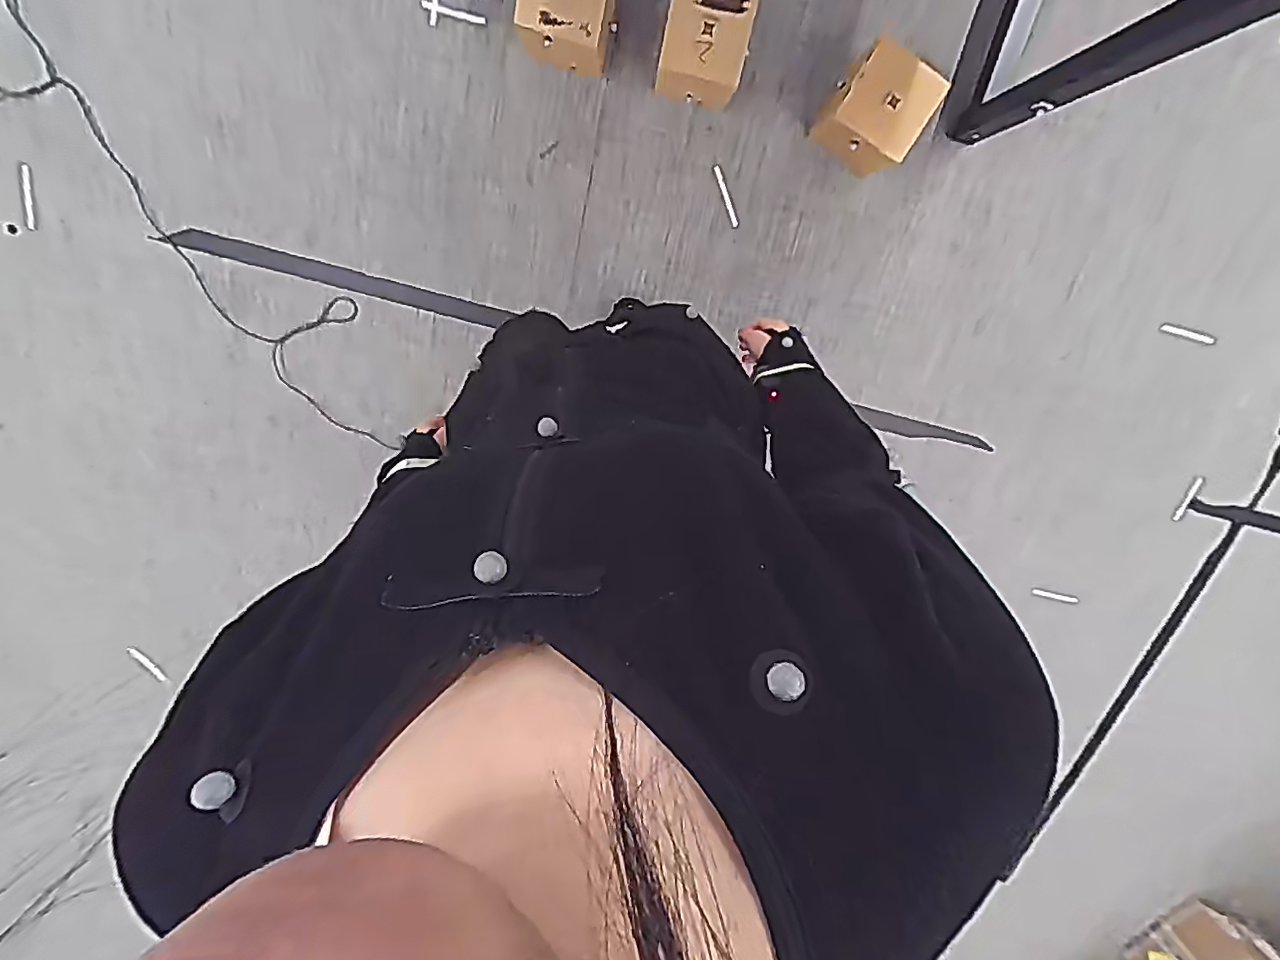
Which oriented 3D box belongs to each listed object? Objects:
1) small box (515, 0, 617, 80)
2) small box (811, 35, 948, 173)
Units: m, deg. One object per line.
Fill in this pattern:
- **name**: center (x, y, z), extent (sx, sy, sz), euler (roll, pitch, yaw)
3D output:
- **small box**: center (-0.142, -0.960, 1.091), extent (0.168, 0.176, 0.179), euler (15, 107, -7)
- **small box**: center (0.506, -0.793, 1.168), extent (0.179, 0.176, 0.168), euler (29, 107, -10)
